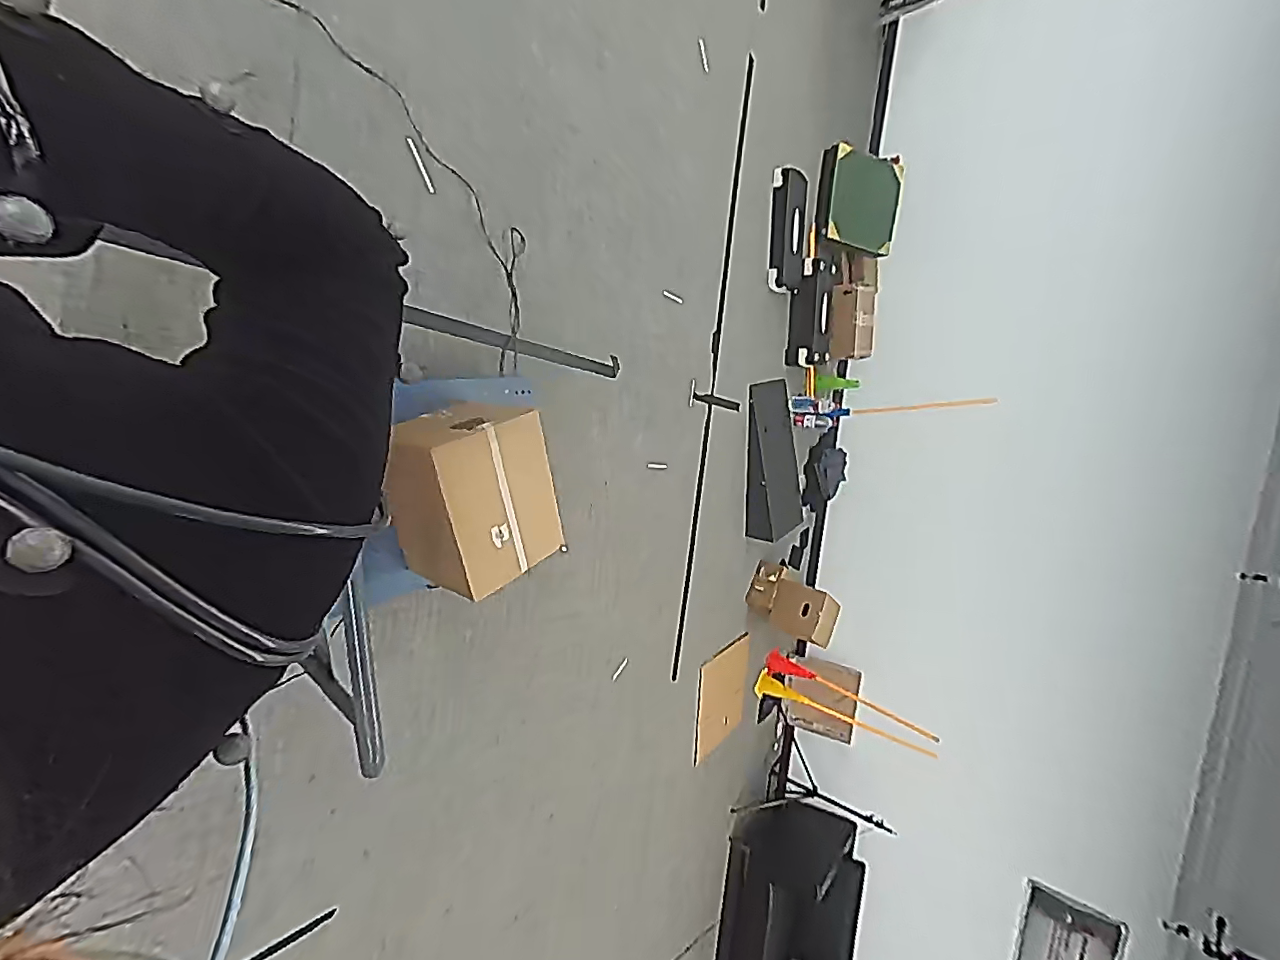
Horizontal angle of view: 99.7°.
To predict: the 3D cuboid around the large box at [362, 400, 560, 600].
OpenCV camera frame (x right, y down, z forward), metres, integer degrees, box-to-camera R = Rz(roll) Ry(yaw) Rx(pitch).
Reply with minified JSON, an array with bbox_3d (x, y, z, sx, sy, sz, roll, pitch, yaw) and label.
[{"bbox_3d":[-0.457,0.032,1.419,0.320,0.320,0.408,-31,123,-44],"label":"large box"}]
